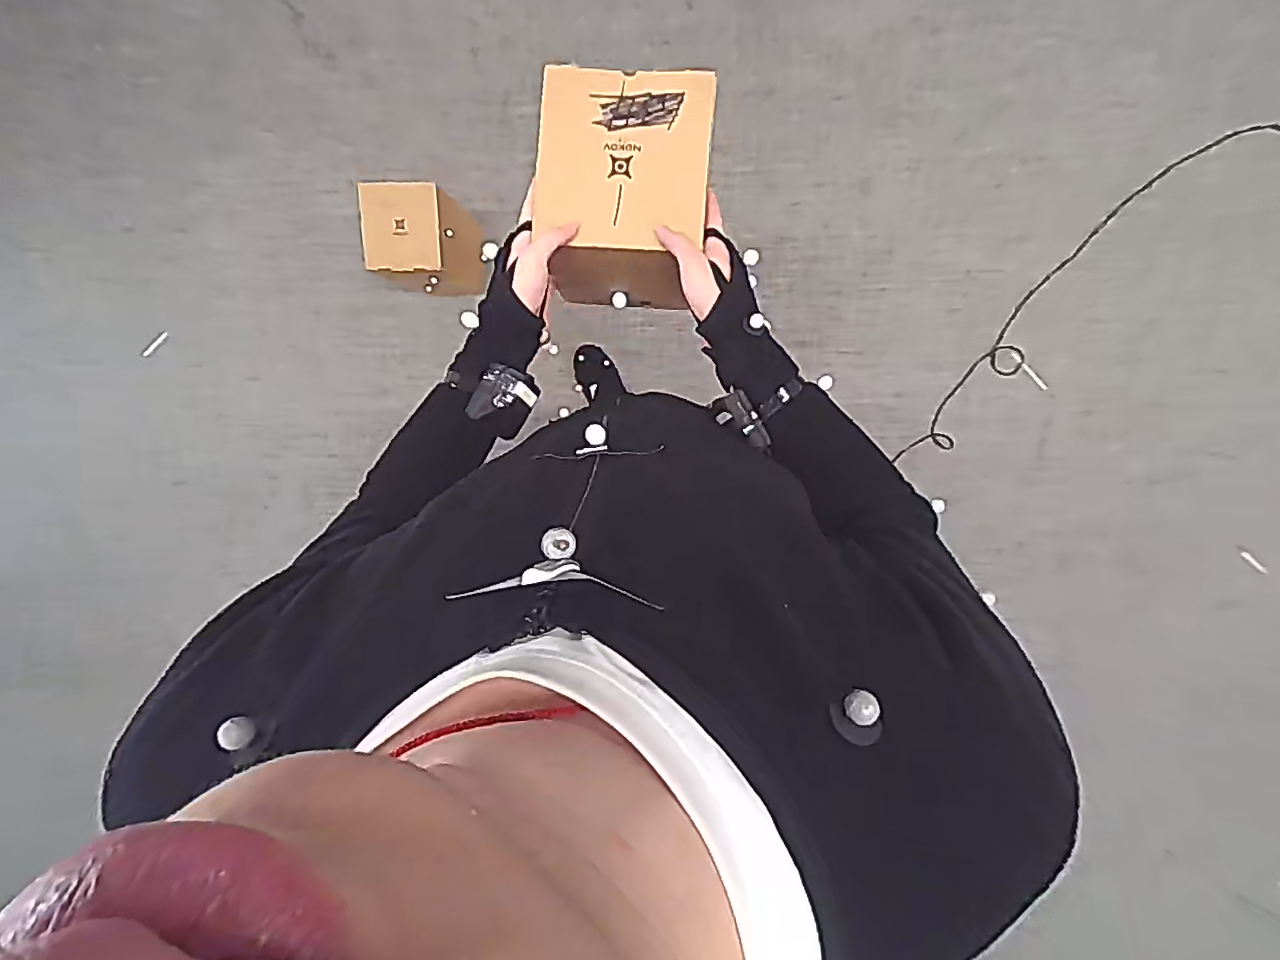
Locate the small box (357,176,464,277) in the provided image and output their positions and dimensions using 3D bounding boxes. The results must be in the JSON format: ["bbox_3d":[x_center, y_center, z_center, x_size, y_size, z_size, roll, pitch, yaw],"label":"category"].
[{"bbox_3d":[-0.505,-0.559,1.216,0.168,0.176,0.179,-1,100,0],"label":"small box"}]

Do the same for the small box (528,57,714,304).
[{"bbox_3d":[-0.014,-0.310,0.590,0.168,0.176,0.179,5,90,4],"label":"small box"}]

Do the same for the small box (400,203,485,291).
[{"bbox_3d":[-0.501,-0.589,1.375,0.168,0.176,0.179,2,101,1],"label":"small box"}]
